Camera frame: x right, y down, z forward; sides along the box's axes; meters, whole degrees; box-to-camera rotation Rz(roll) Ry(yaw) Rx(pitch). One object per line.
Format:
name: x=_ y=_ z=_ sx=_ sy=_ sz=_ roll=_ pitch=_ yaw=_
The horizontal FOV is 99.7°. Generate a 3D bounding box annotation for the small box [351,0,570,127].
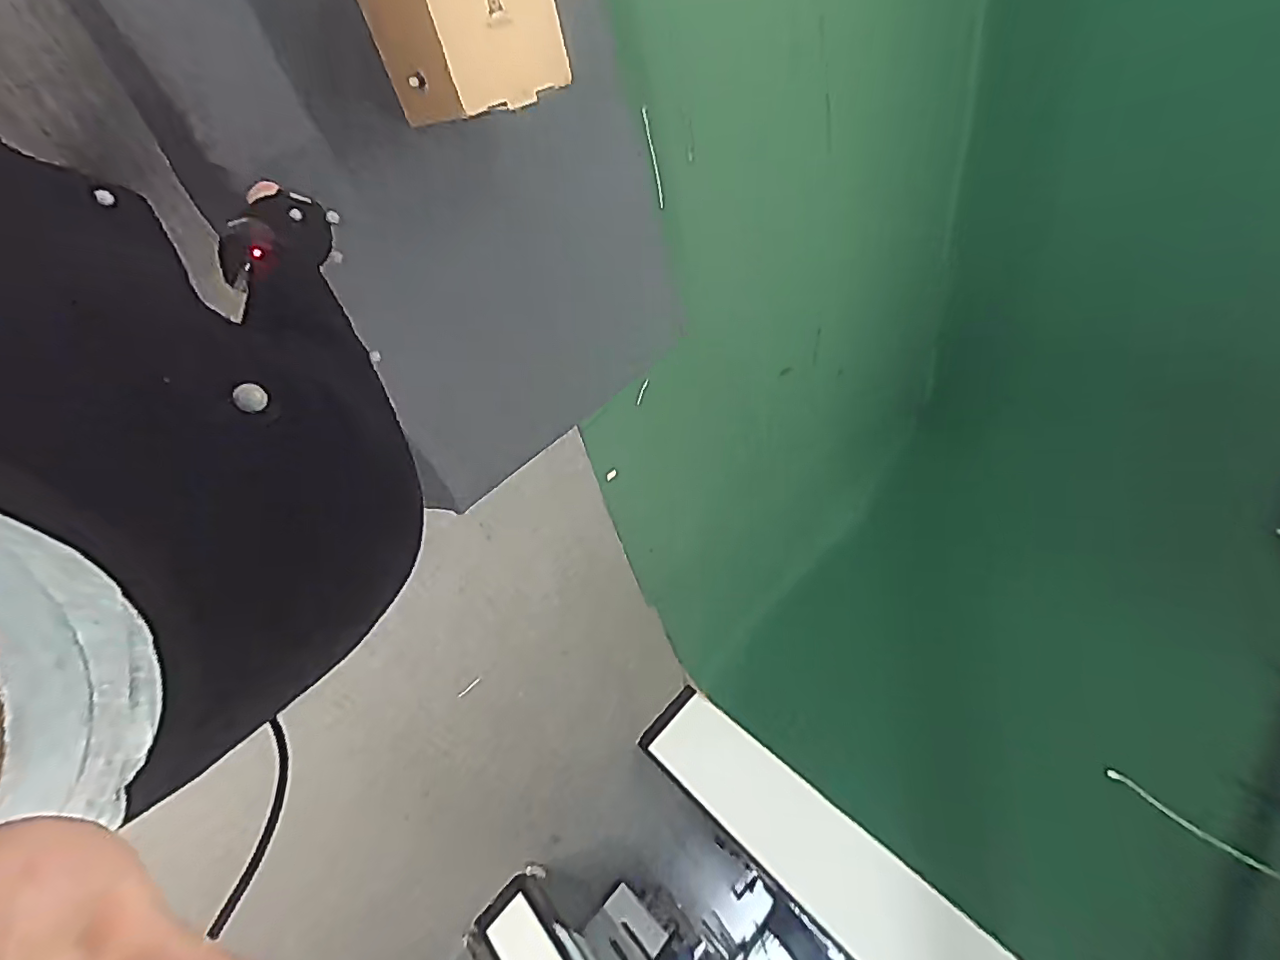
small box: x=-0.218 y=-0.544 z=0.648 sx=0.168 sy=0.176 sz=0.179 roll=-40 pitch=134 yaw=-25
